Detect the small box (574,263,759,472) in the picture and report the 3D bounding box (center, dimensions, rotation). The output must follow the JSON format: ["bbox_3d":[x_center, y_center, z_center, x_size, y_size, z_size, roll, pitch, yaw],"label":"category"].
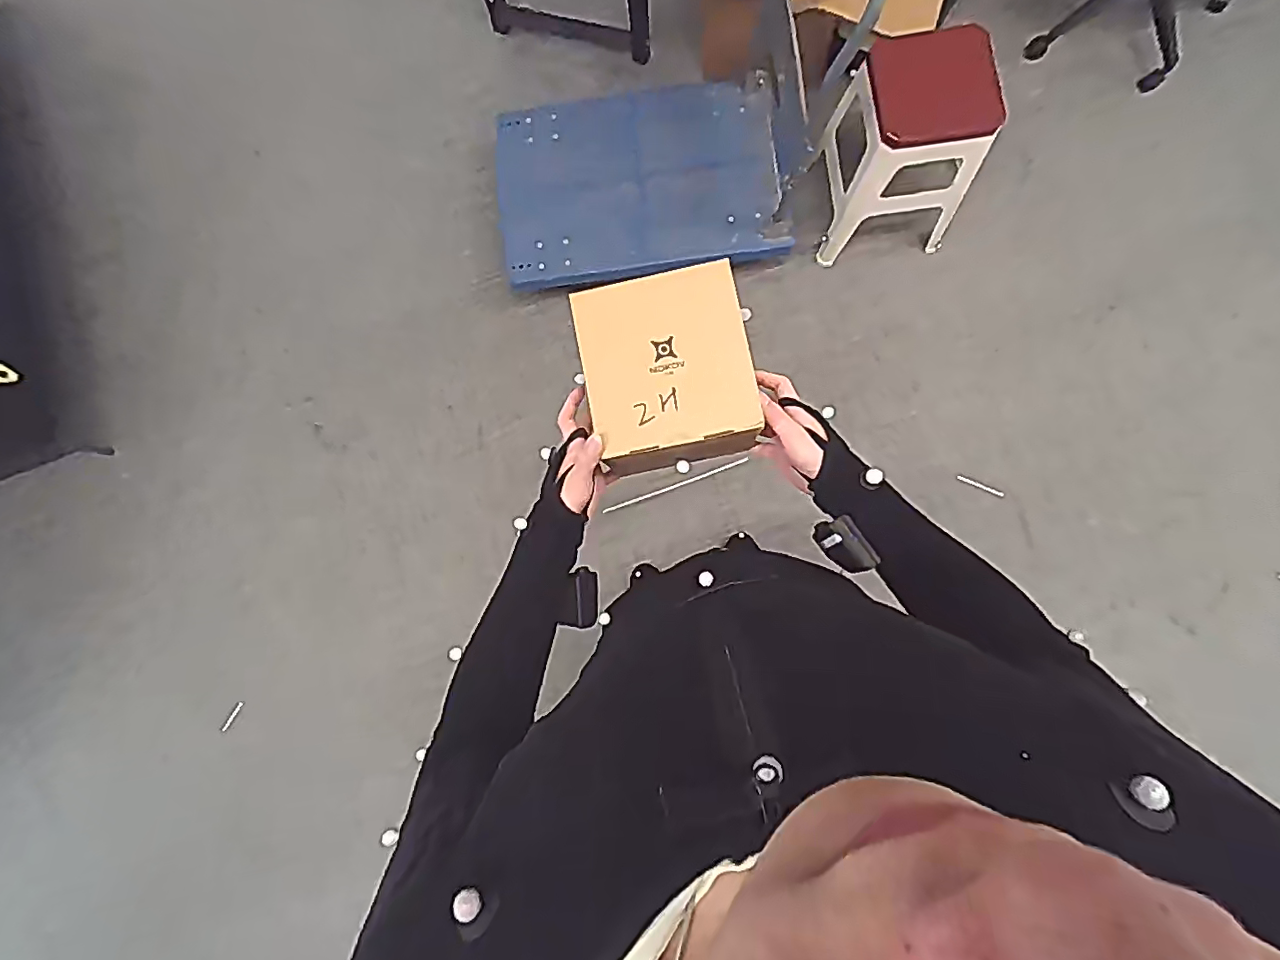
[{"bbox_3d":[0.030,-0.115,0.621,0.168,0.176,0.179,-11,84,4],"label":"small box"}]
